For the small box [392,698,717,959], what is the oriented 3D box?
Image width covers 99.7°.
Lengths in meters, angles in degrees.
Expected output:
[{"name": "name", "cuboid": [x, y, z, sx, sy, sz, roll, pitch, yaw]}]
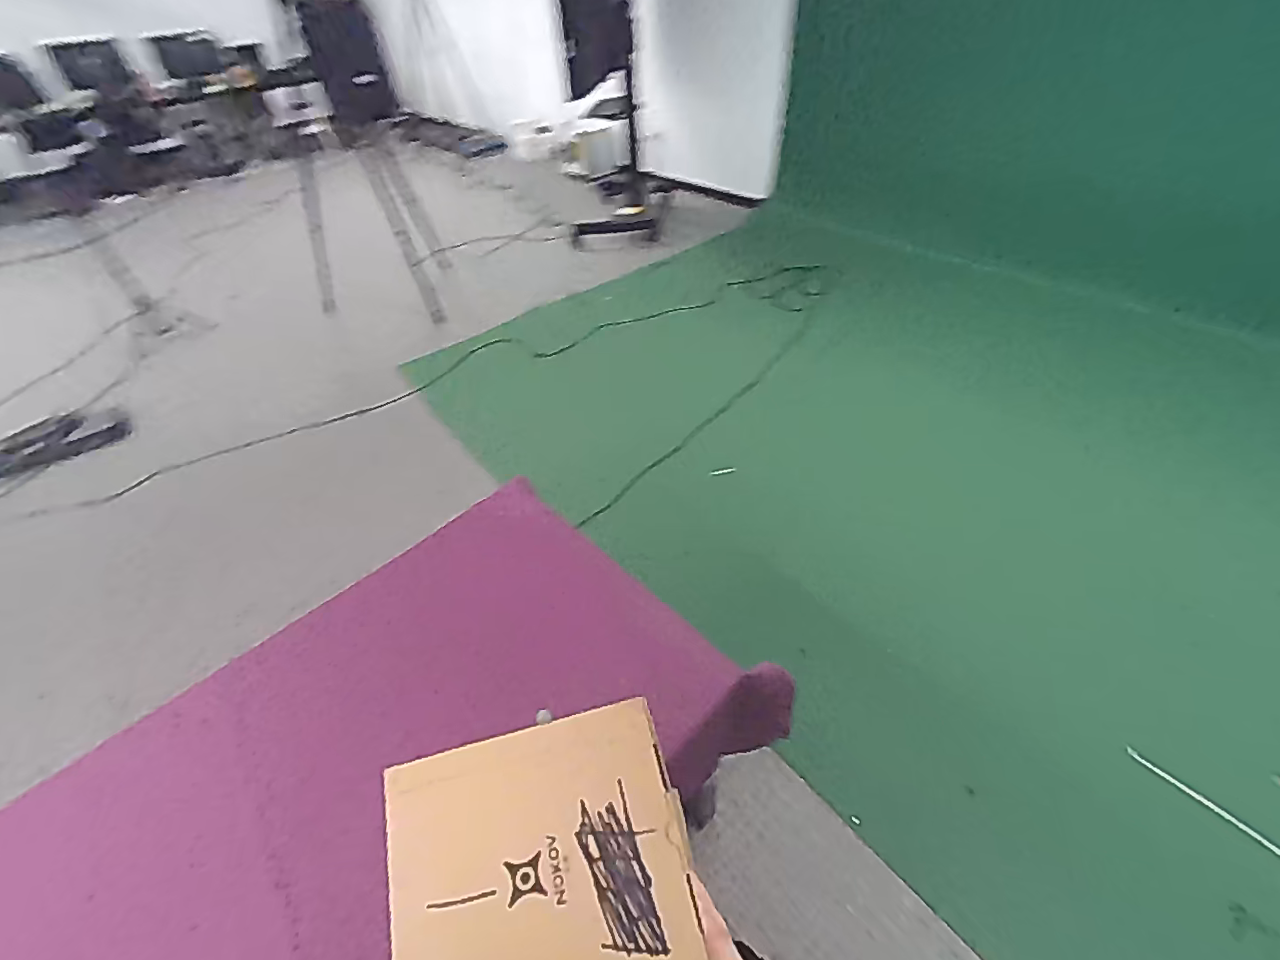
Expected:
[{"name": "small box", "cuboid": [-0.058, 0.269, 0.392, 0.179, 0.176, 0.168, -12, 62, -7]}]
